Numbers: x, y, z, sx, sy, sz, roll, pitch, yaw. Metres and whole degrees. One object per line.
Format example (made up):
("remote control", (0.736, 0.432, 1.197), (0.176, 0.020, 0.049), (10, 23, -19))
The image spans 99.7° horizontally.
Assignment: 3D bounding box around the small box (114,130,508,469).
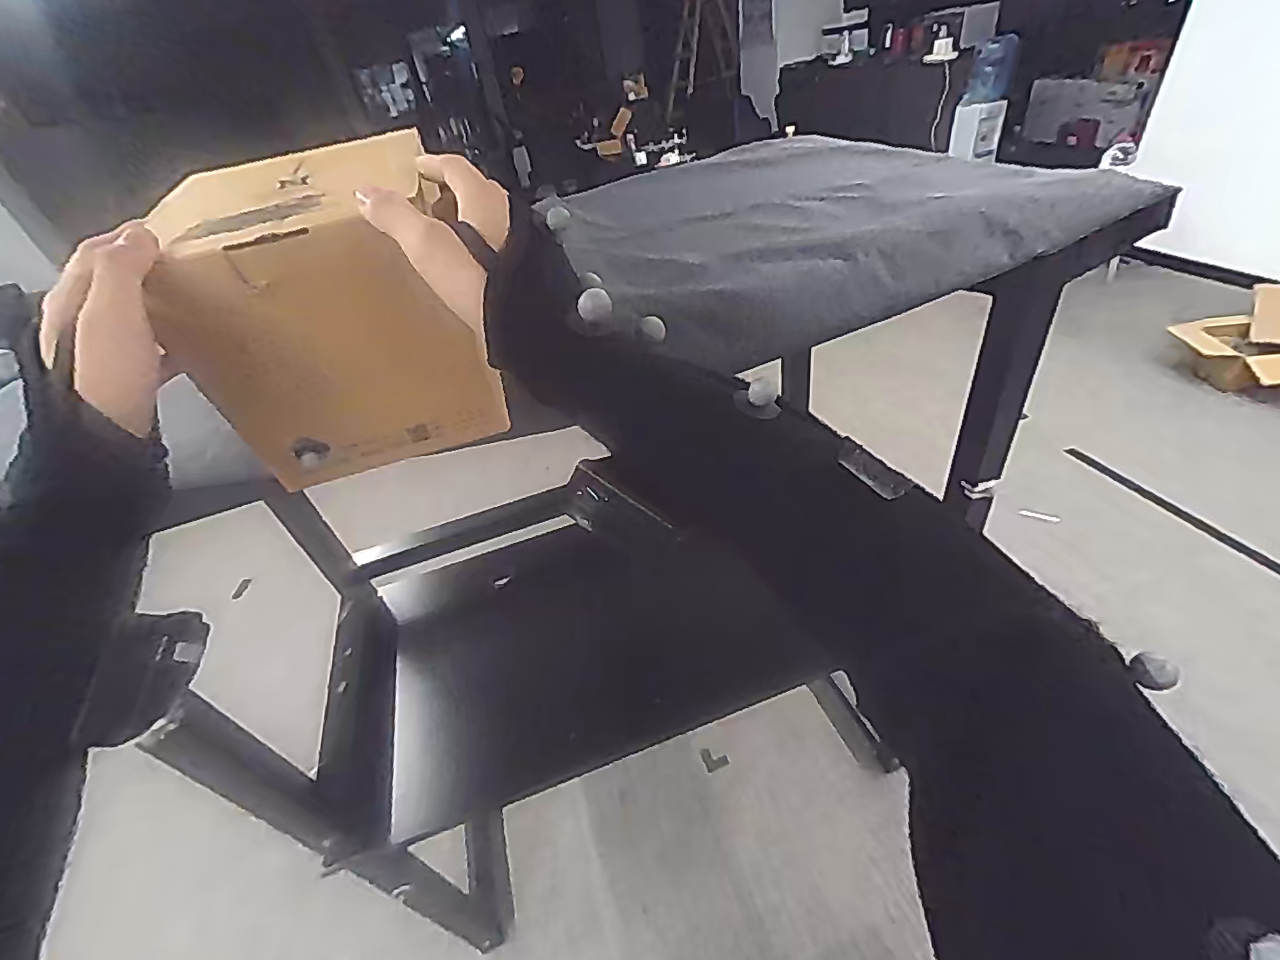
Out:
("small box", (-0.207, -0.127, 0.400), (0.168, 0.176, 0.179), (-17, 46, -6))
